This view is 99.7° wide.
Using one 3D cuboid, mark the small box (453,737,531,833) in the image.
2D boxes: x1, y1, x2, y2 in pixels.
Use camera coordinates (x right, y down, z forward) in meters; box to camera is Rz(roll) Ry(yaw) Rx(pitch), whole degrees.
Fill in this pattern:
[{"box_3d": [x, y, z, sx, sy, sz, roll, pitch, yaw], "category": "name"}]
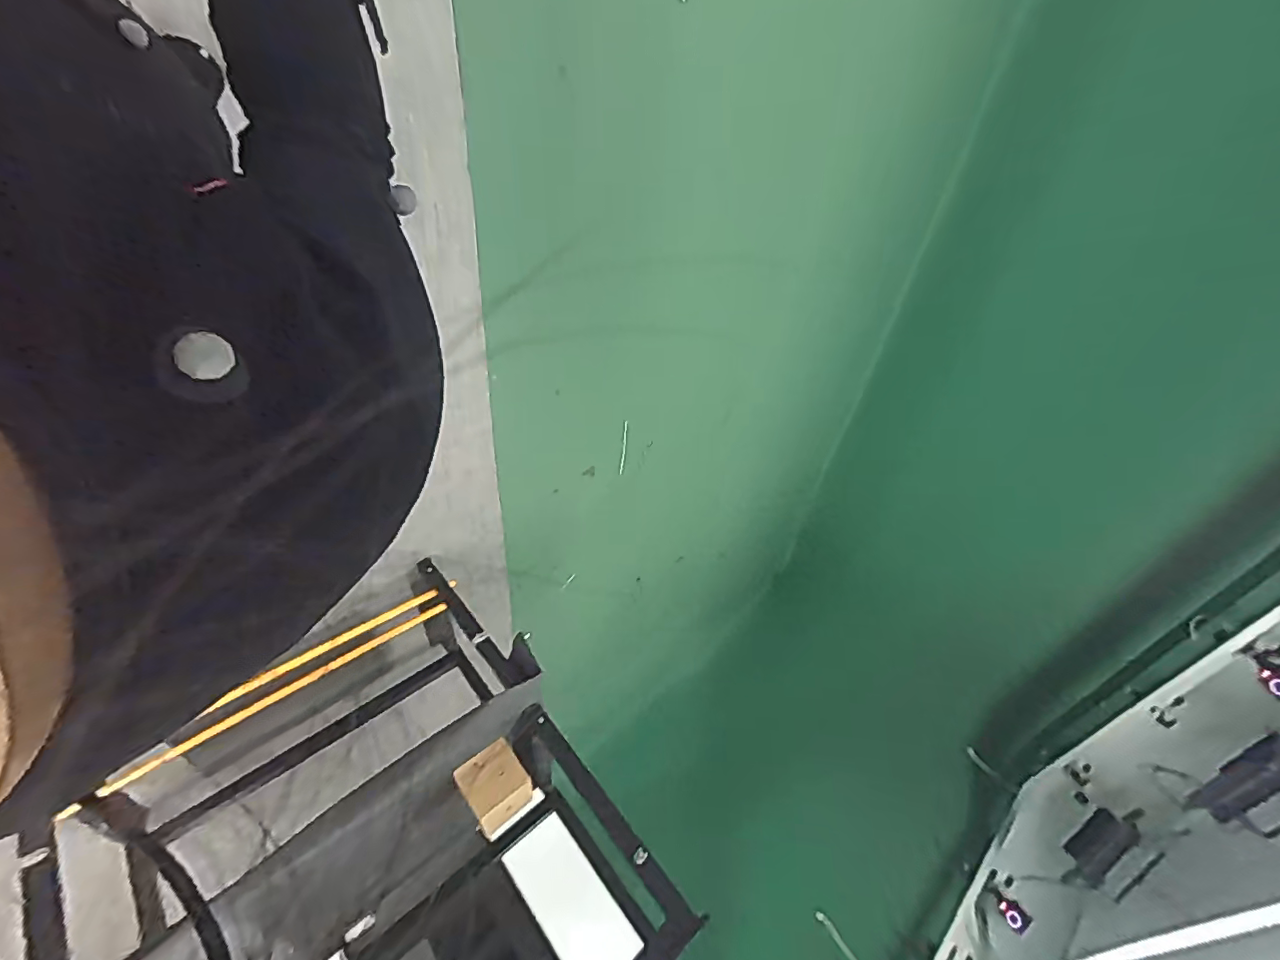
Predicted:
[{"box_3d": [-0.451, 0.921, 1.649, 0.168, 0.176, 0.179, -29, 143, -32], "category": "small box"}]
